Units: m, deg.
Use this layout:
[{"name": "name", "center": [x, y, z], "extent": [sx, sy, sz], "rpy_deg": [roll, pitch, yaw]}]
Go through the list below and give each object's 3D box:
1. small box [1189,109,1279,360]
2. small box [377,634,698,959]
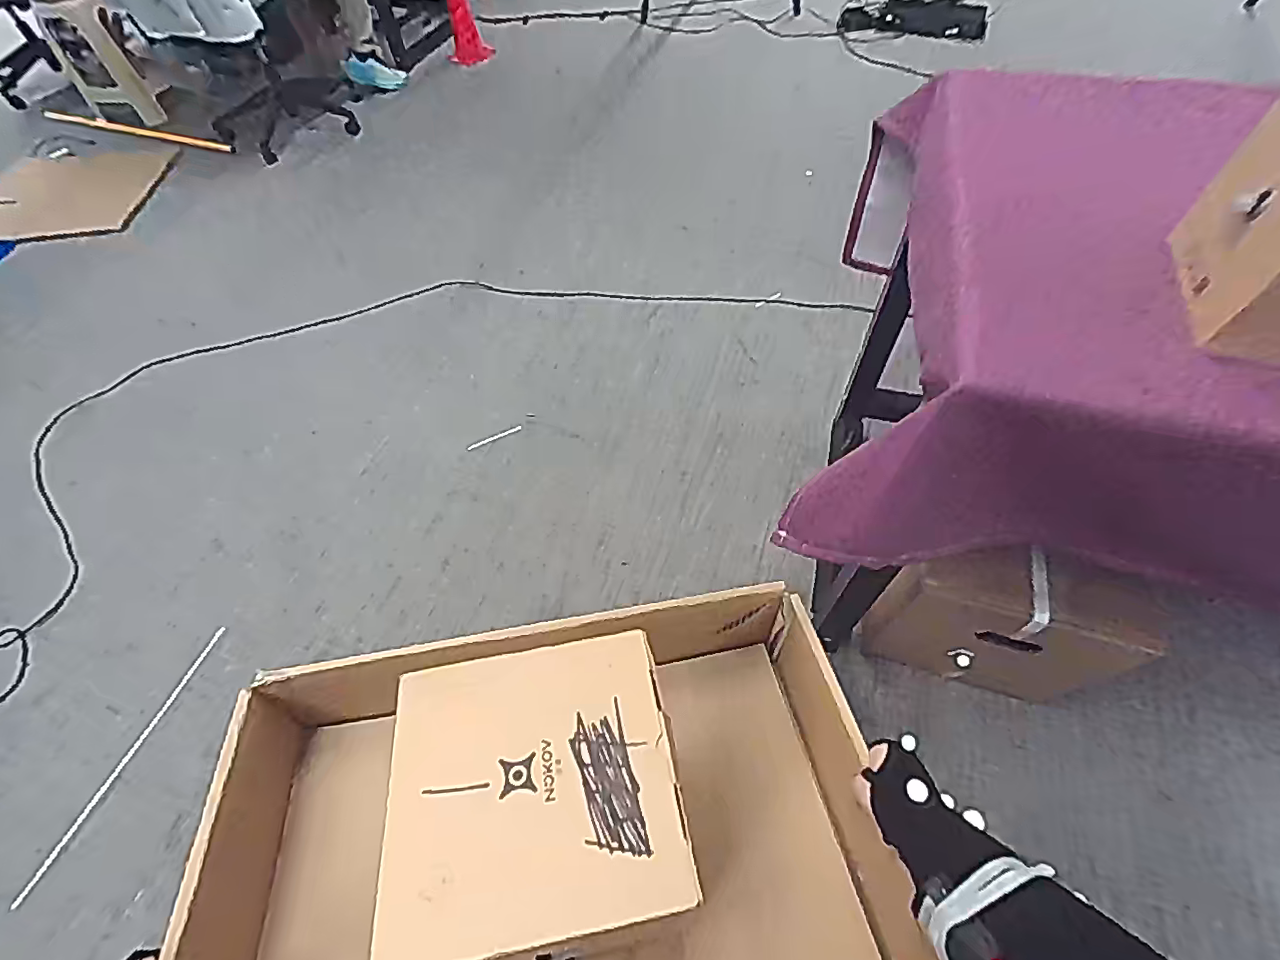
[{"name": "small box", "center": [0.550, -0.190, 0.384], "extent": [0.179, 0.176, 0.168], "rpy_deg": [15, 60, 14]}, {"name": "small box", "center": [-0.064, 0.239, 0.401], "extent": [0.179, 0.176, 0.168], "rpy_deg": [-9, 48, -6]}]
